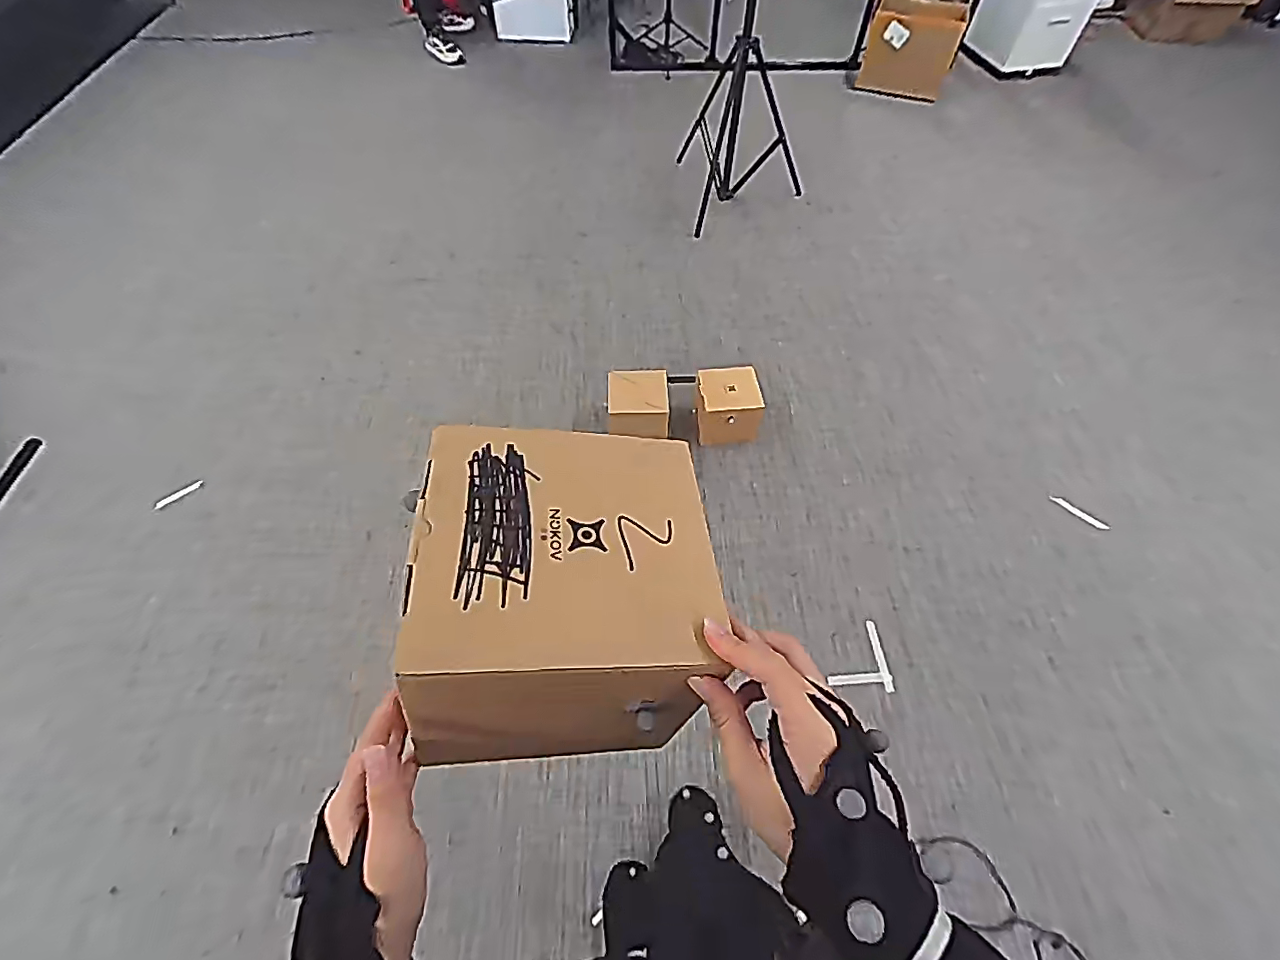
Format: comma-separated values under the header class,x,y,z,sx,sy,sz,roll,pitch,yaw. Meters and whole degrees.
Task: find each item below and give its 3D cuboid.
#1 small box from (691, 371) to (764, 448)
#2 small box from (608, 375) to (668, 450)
class,x,y,z,sx,sy,sz,roll,pitch,yaw
small box,0.262,-0.215,1.666,0.179,0.176,0.168,-5,57,-4
small box,-0.007,-0.208,1.652,0.179,0.176,0.168,0,57,-2
